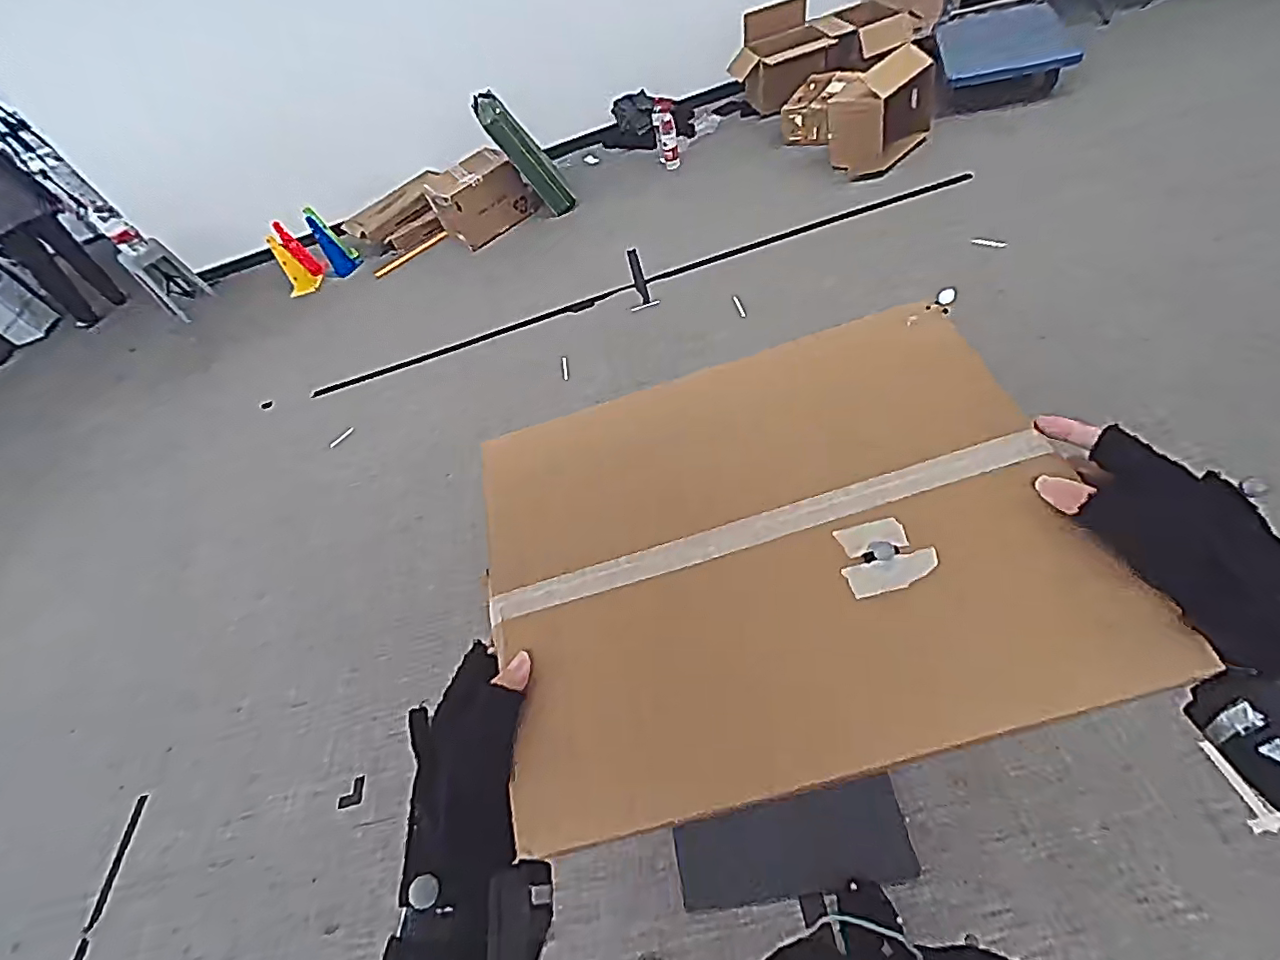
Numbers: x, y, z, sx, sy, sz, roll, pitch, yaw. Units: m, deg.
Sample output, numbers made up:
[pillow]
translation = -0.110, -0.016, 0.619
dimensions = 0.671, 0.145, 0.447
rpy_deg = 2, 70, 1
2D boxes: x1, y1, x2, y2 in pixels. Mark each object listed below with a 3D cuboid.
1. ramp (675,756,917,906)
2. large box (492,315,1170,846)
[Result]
[ramp]
translation = 0.260, 0.425, 1.369
dimensions = 0.509, 0.206, 0.991
rpy_deg = -15, 51, 5
[large box]
translation = 0.117, 0.114, 0.527
dimensions = 0.408, 0.320, 0.320
rpy_deg = -18, 59, 3
